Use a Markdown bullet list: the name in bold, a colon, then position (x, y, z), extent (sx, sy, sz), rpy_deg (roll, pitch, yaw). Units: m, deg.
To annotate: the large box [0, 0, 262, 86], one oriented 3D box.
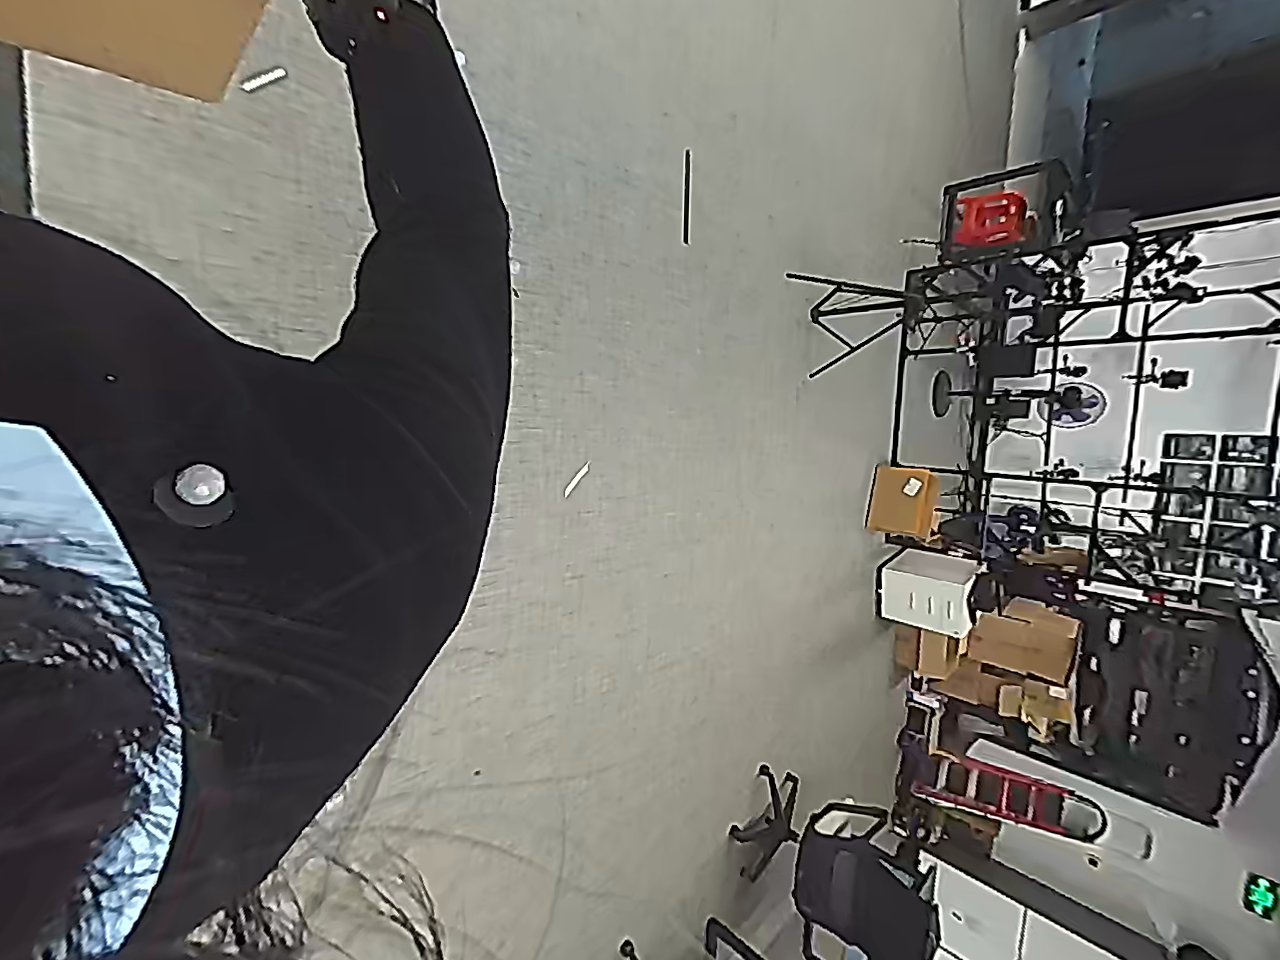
- **large box**: position (-0.500, -0.532, 0.333), extent (0.408, 0.320, 0.320), rpy_deg (-11, 103, -44)
